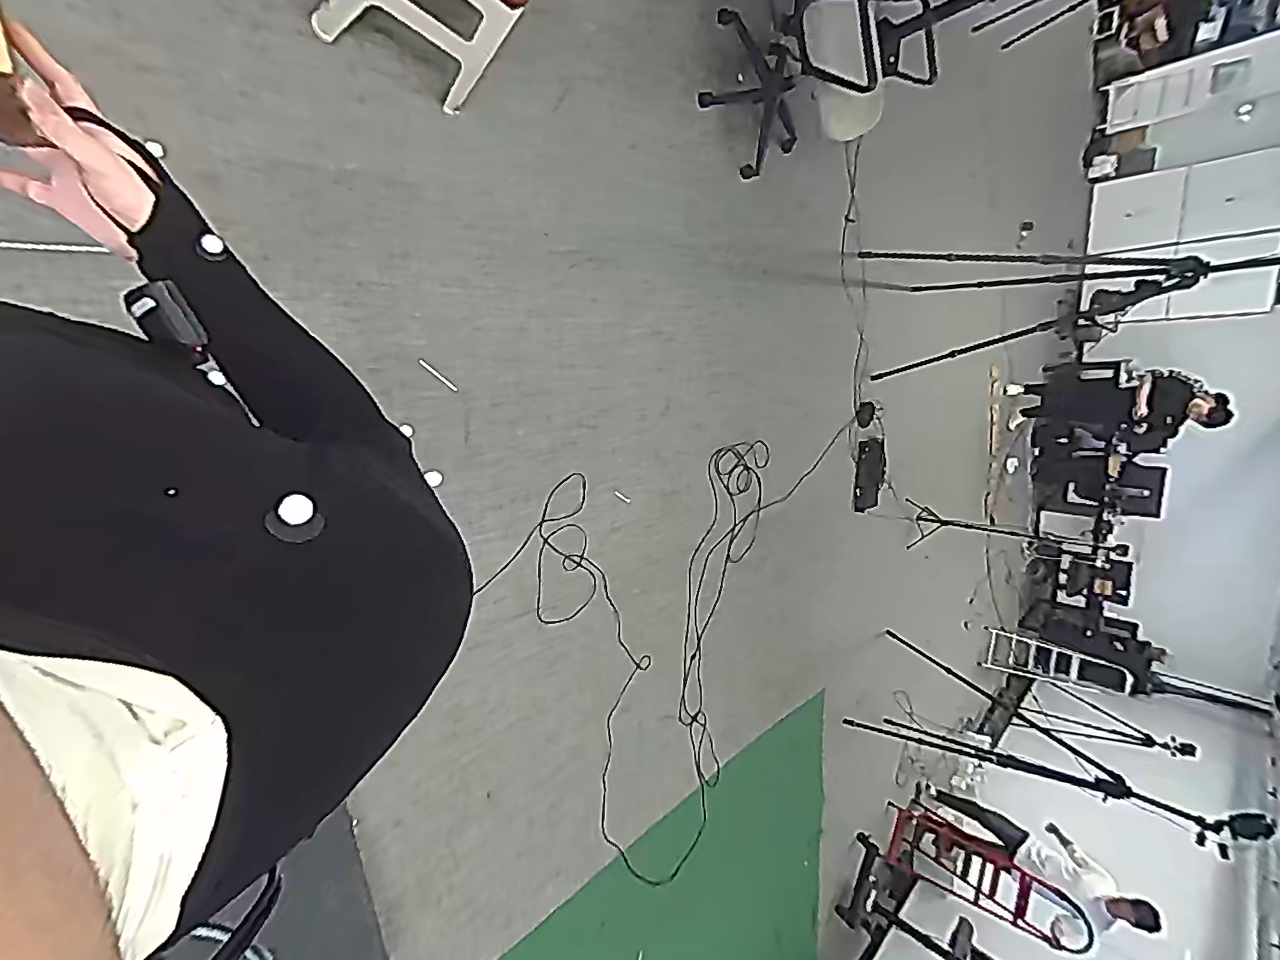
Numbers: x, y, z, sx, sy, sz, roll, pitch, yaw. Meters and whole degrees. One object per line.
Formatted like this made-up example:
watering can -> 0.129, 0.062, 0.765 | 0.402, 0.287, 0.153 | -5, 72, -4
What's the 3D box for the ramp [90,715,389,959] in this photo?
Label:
ramp -> -0.998, 1.203, 1.446 | 0.509, 0.206, 0.991 | -18, 108, -39
